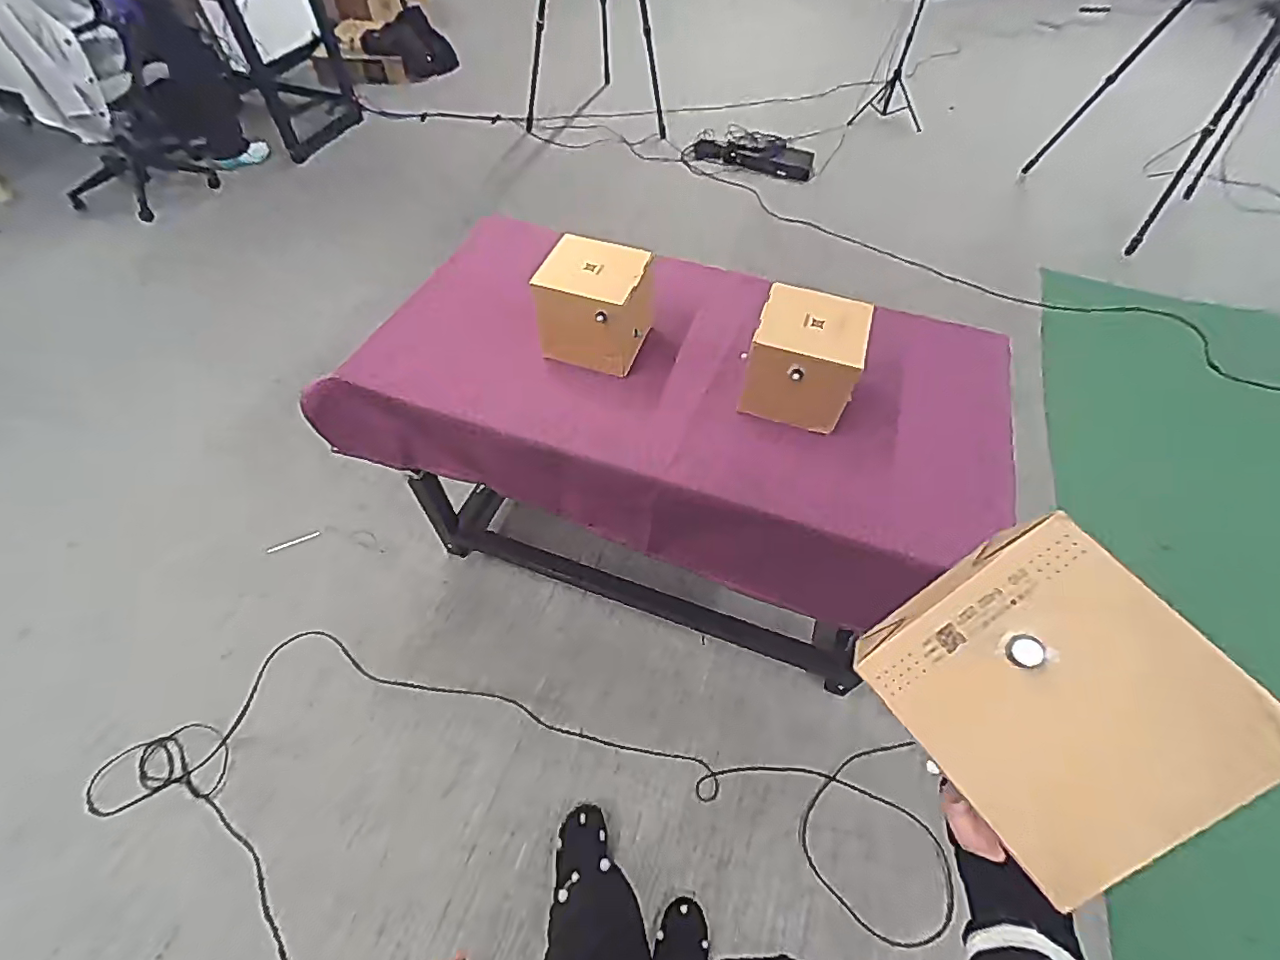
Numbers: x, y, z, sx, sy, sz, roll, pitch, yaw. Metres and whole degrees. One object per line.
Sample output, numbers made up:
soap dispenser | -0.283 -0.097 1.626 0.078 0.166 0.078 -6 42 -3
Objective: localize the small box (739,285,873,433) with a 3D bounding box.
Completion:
small box | 0.284 -0.208 0.949 0.179 0.176 0.168 18 57 10

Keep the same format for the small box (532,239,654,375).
small box | -0.083 -0.323 1.024 0.179 0.176 0.168 16 56 9

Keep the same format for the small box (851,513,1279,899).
small box | 0.280 0.143 0.404 0.168 0.179 0.176 -44 66 9
